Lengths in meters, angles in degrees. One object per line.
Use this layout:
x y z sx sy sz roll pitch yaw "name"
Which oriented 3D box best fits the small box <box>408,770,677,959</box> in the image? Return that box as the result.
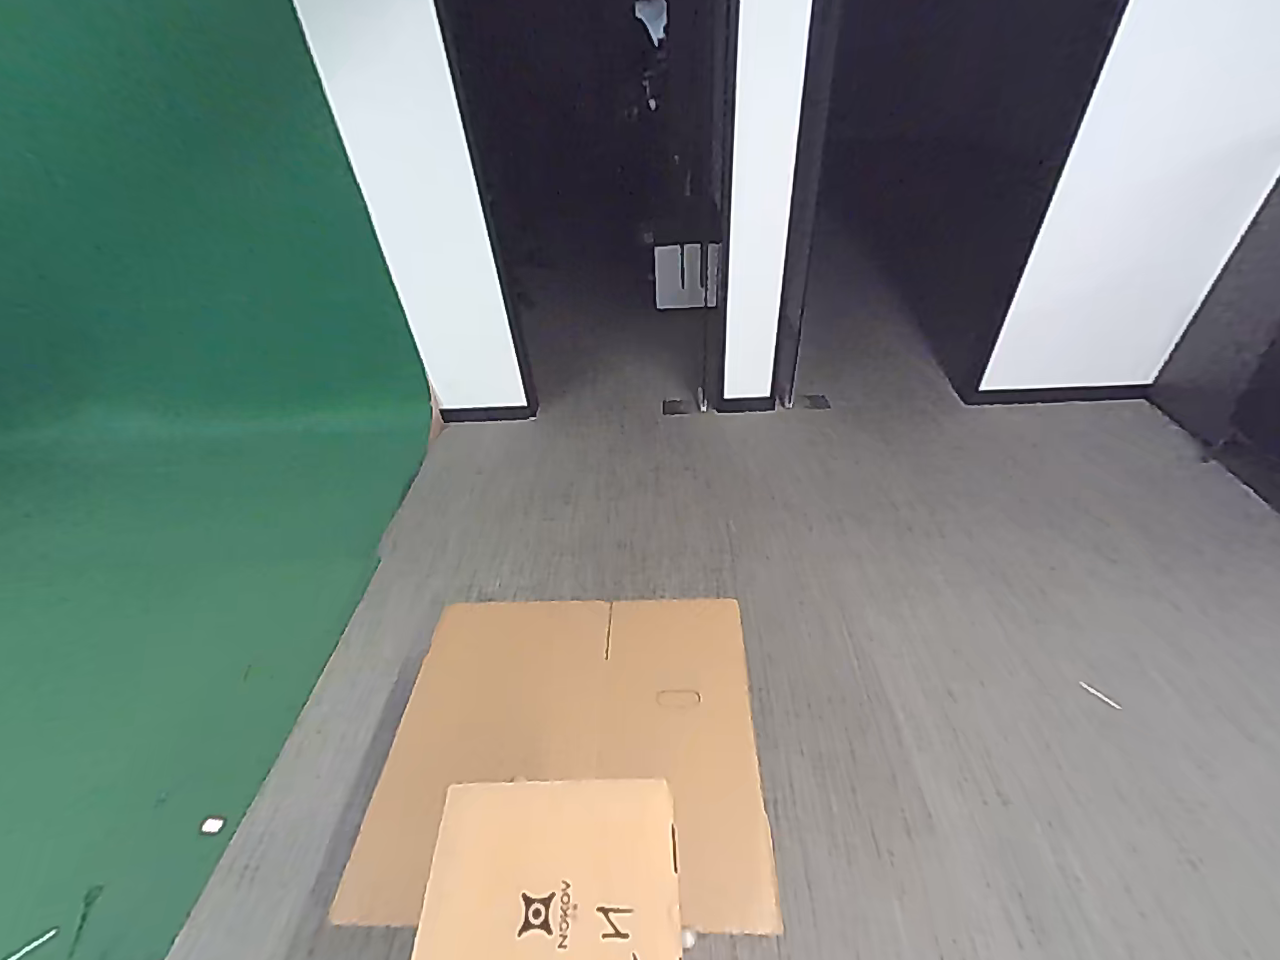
-0.060 0.343 0.421 0.179 0.176 0.168 -1 44 1 "small box"
